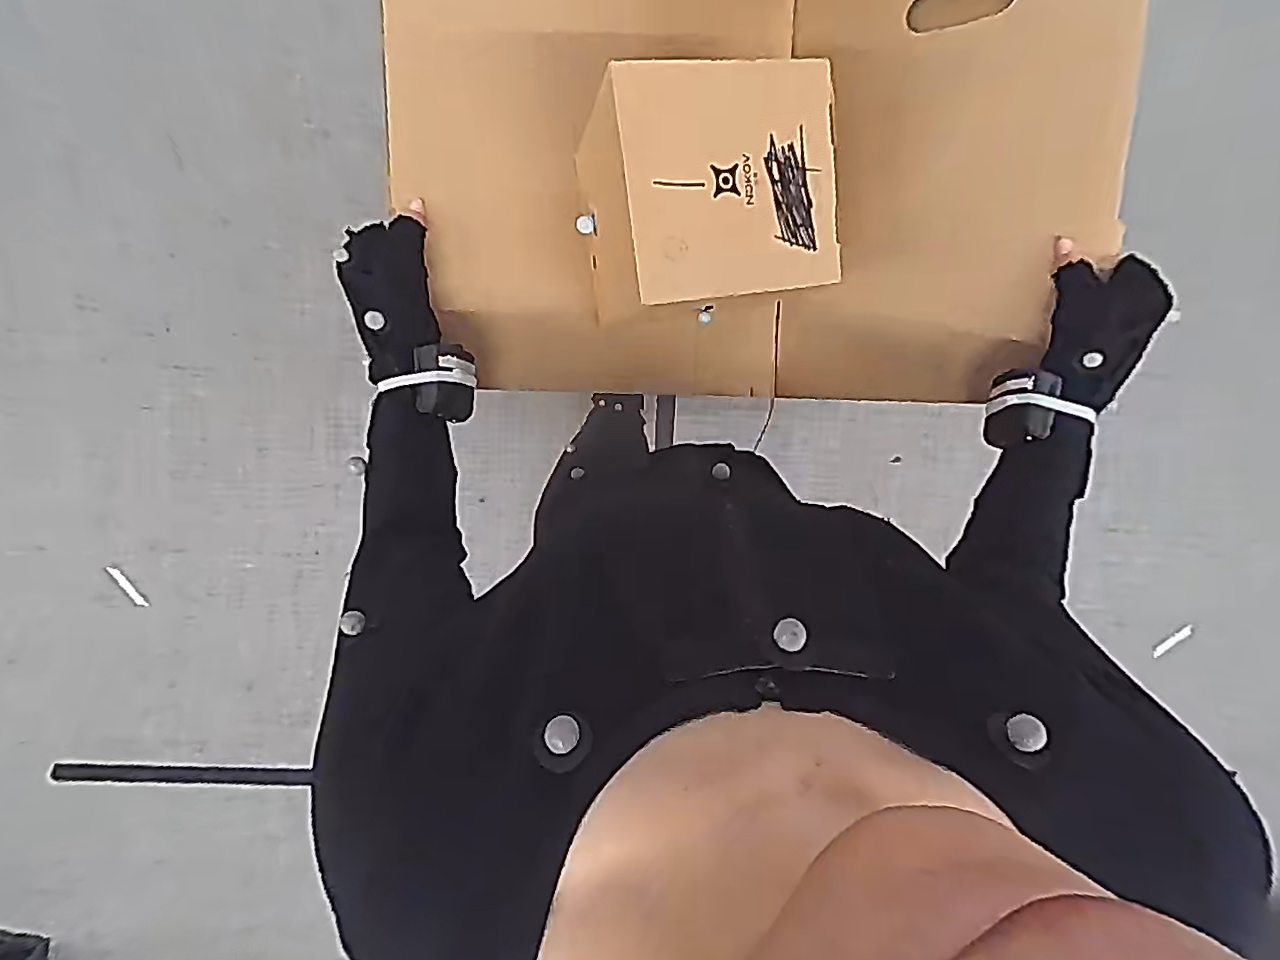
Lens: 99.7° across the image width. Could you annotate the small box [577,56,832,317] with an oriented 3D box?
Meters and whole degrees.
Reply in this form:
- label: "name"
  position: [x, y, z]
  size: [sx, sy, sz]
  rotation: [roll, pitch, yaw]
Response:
- label: "small box"
  position: [0.050, -0.250, 0.497]
  size: [0.179, 0.176, 0.168]
  rotation: [-11, 102, -13]
